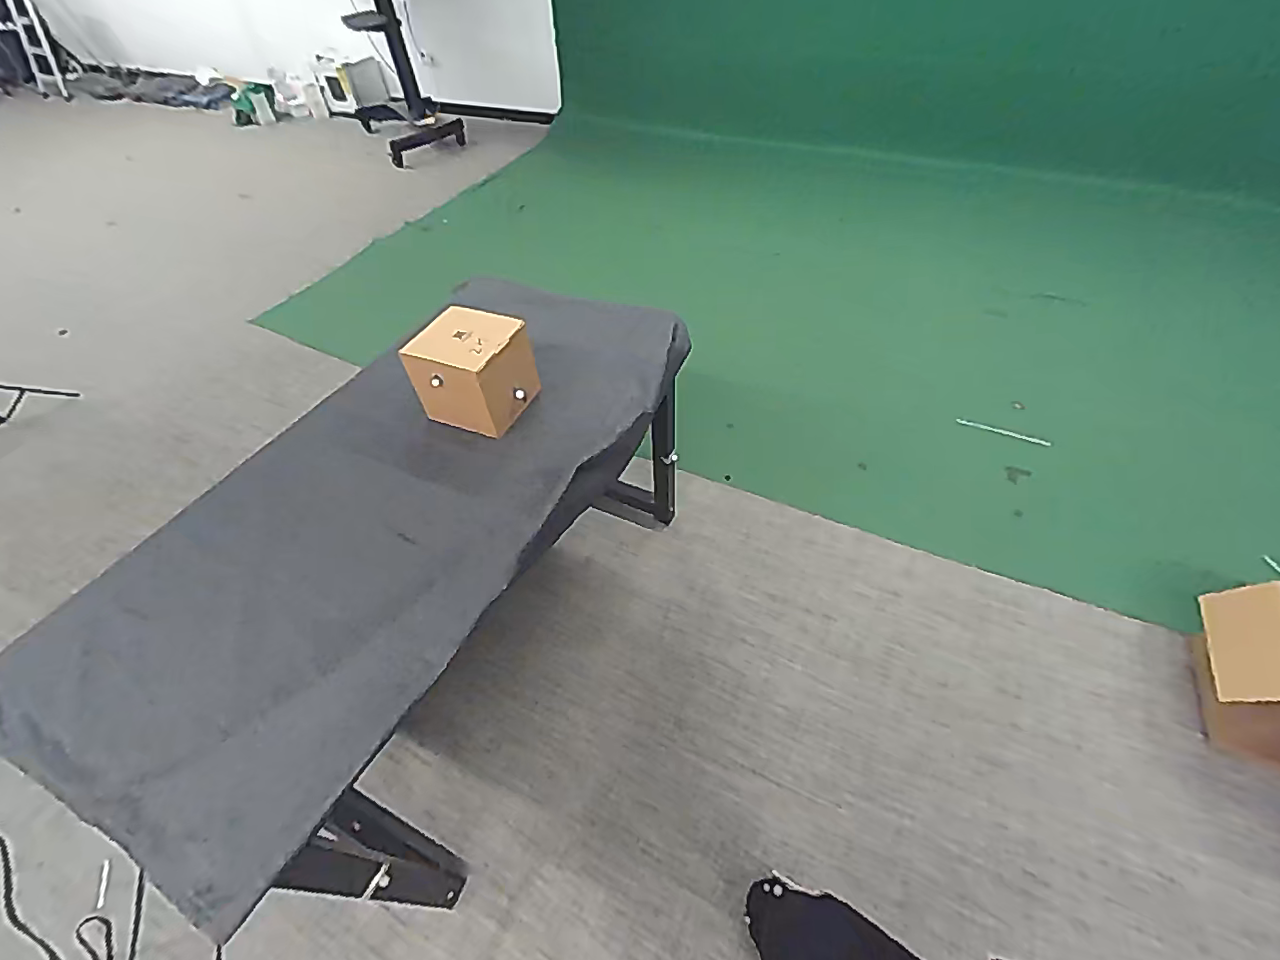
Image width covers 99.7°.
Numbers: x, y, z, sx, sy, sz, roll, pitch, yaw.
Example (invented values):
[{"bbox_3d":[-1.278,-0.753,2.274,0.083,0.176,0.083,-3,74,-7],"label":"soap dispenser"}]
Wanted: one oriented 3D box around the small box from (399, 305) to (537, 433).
[{"bbox_3d":[-0.327,-0.215,1.064,0.179,0.176,0.168,17,53,17],"label":"small box"}]
